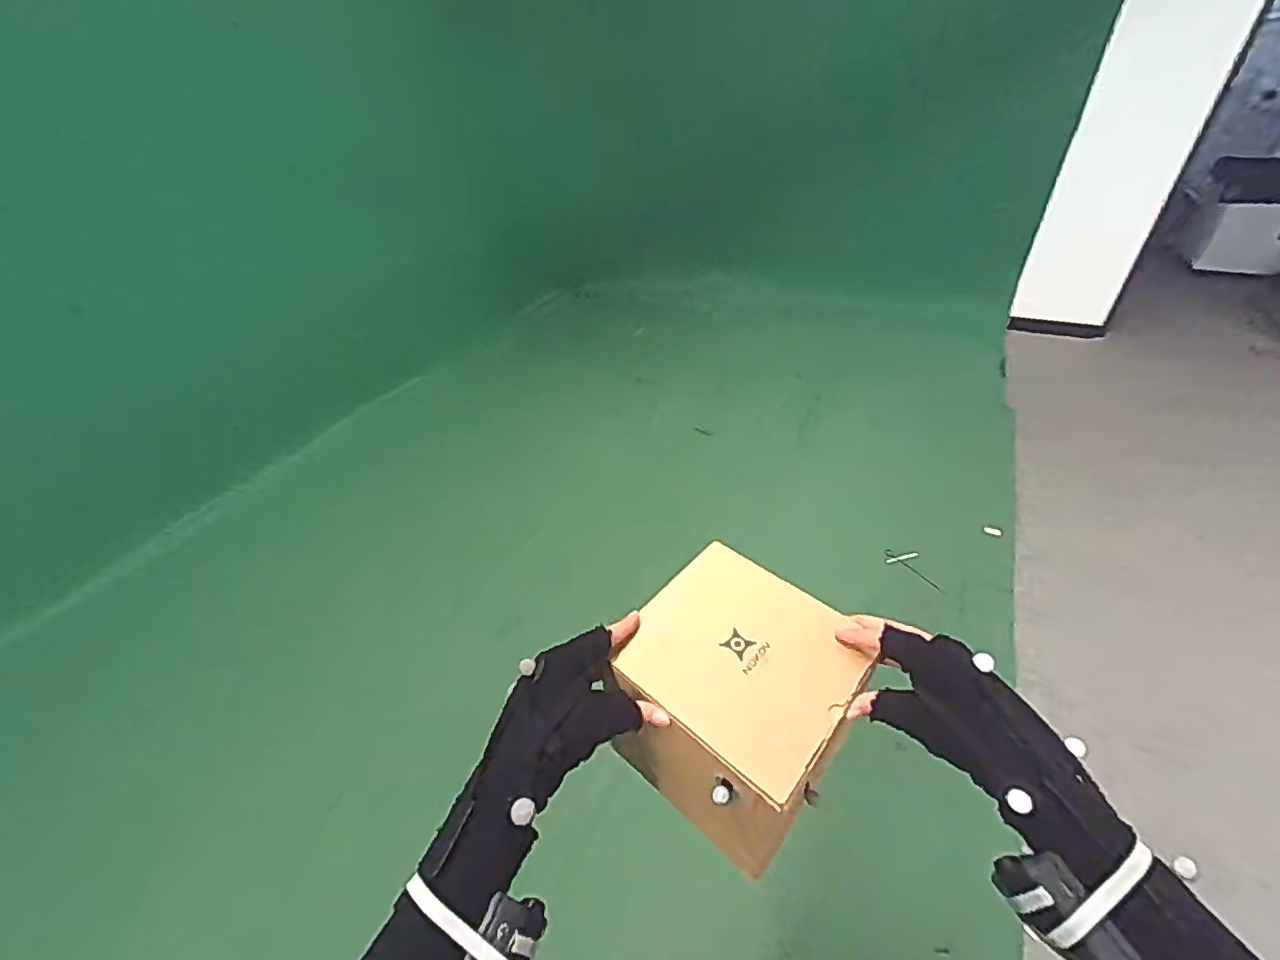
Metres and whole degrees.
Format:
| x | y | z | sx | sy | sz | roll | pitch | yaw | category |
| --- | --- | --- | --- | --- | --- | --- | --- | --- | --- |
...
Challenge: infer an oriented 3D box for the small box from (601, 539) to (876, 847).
| x | y | z | sx | sy | sz | roll | pitch | yaw | category |
| --- | --- | --- | --- | --- | --- | --- | --- | --- | --- |
| 0.082 | 0.194 | 0.505 | 0.179 | 0.176 | 0.168 | 31 | 50 | 30 | small box |
